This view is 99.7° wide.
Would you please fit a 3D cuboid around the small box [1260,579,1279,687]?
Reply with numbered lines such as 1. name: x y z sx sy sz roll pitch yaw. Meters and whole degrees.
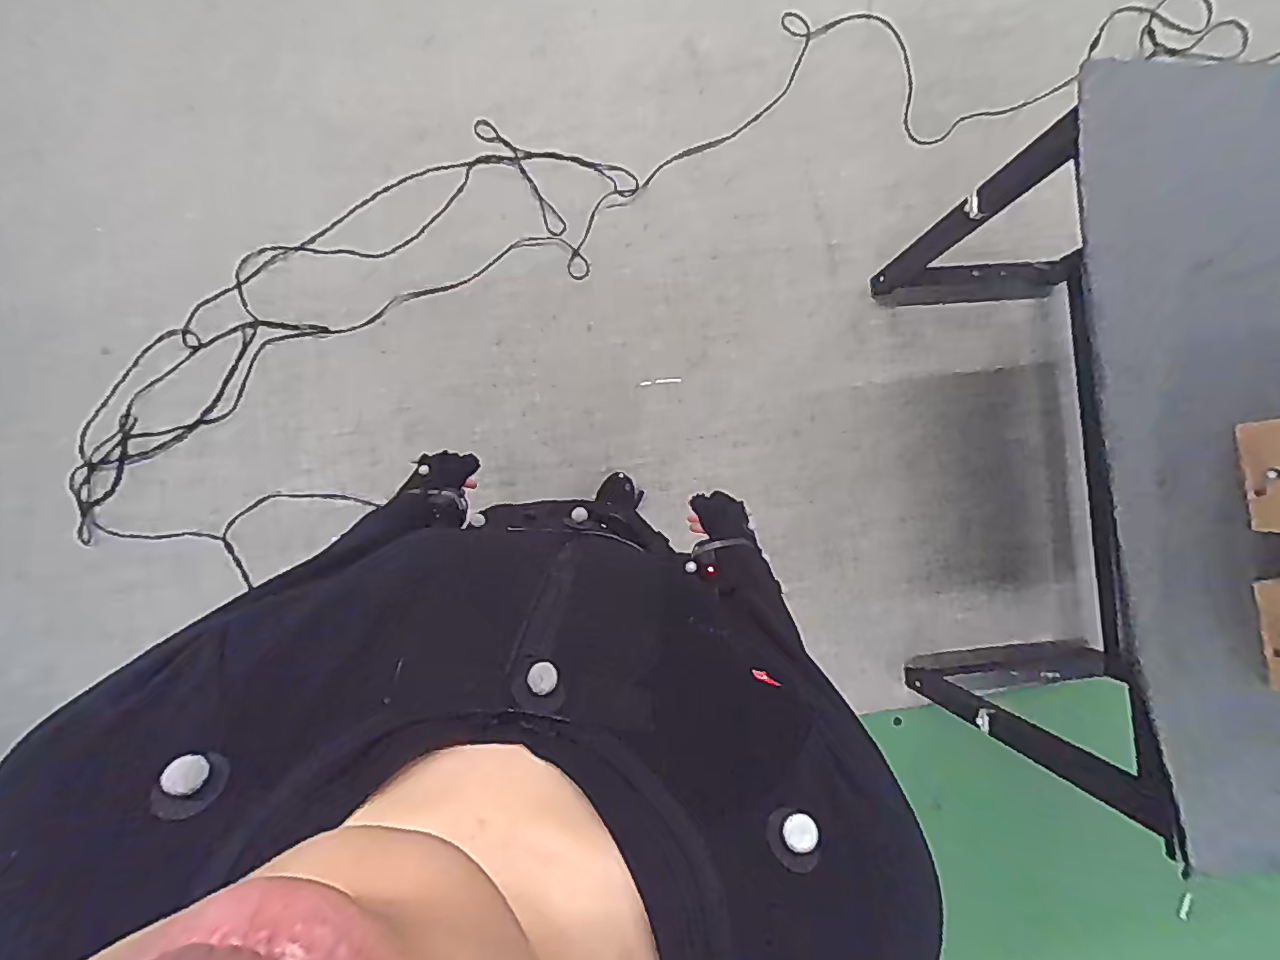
1. small box: 1.035 0.221 0.742 0.179 0.176 0.168 -6 87 -4
